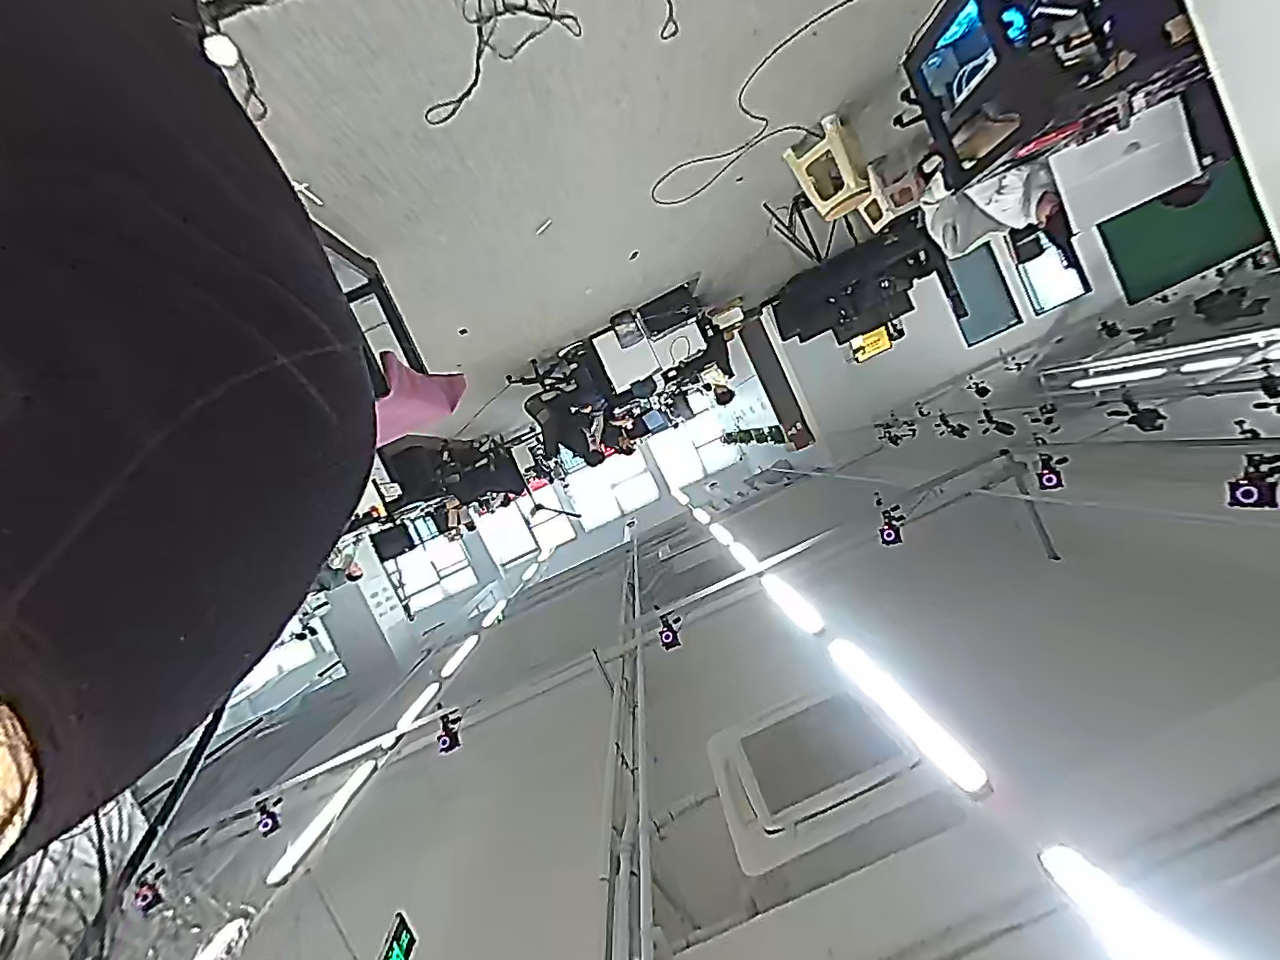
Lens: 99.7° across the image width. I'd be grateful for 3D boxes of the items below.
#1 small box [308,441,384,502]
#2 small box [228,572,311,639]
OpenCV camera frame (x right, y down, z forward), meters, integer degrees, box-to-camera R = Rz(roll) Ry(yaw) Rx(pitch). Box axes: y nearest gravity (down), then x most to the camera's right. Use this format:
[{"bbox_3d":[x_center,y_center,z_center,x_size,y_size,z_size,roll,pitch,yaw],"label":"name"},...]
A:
[{"bbox_3d":[-1.116,-0.032,2.045,0.179,0.176,0.168,-26,-177,-3],"label":"small box"},{"bbox_3d":[-1.404,0.469,2.051,0.168,0.176,0.179,-27,-177,-4],"label":"small box"}]
